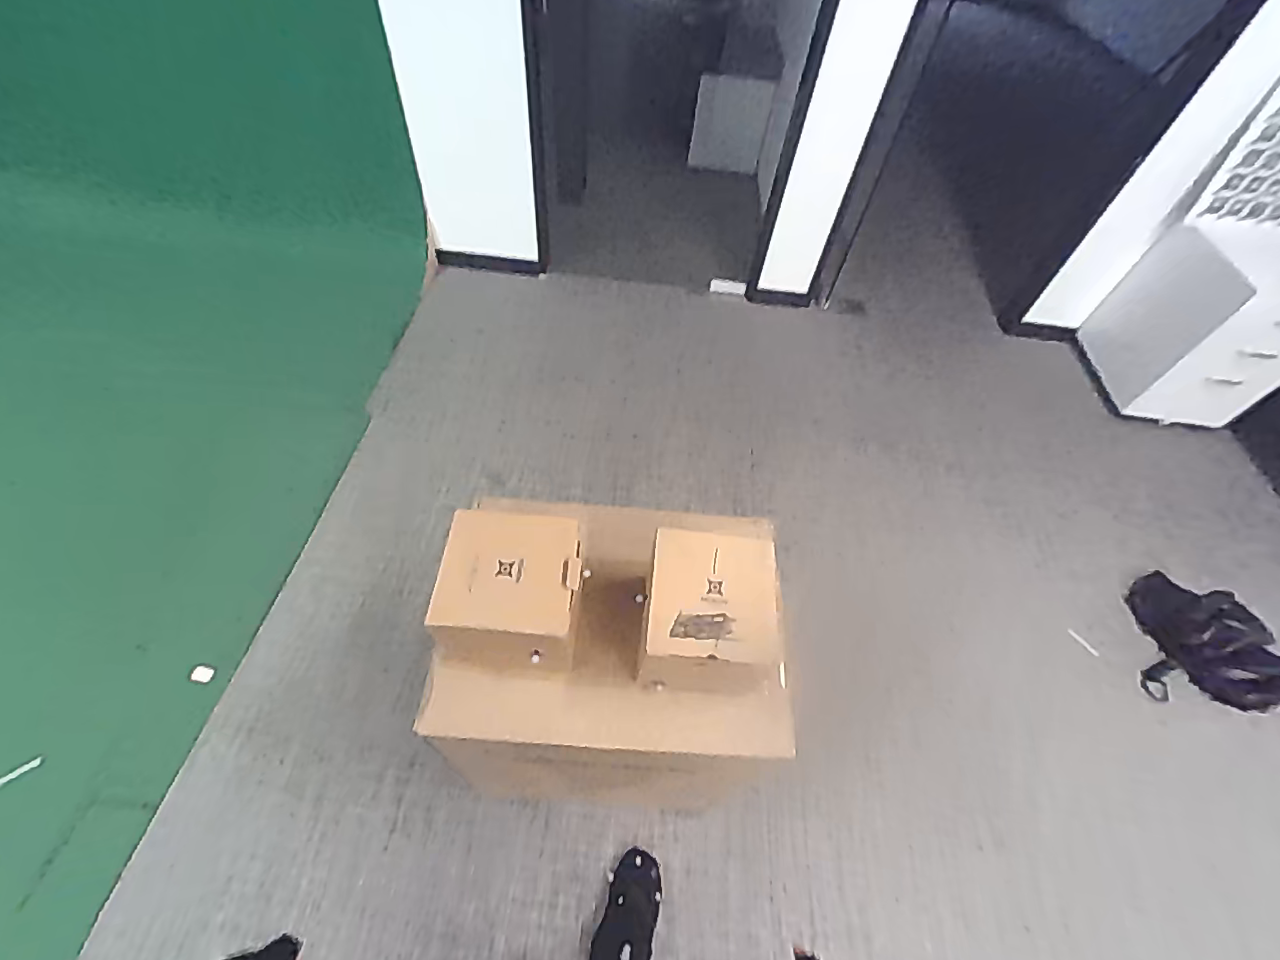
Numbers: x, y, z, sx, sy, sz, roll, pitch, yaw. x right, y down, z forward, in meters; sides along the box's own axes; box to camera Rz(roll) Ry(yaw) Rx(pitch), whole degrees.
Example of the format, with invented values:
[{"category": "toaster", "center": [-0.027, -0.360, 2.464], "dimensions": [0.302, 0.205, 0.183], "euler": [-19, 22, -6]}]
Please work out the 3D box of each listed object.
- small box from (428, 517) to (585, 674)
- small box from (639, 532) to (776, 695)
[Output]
[{"category": "small box", "center": [-0.174, 0.170, 0.772], "dimensions": [0.179, 0.176, 0.168], "euler": [3, 55, -1]}, {"category": "small box", "center": [0.091, 0.196, 0.773], "dimensions": [0.168, 0.176, 0.179], "euler": [7, 56, 0]}]
